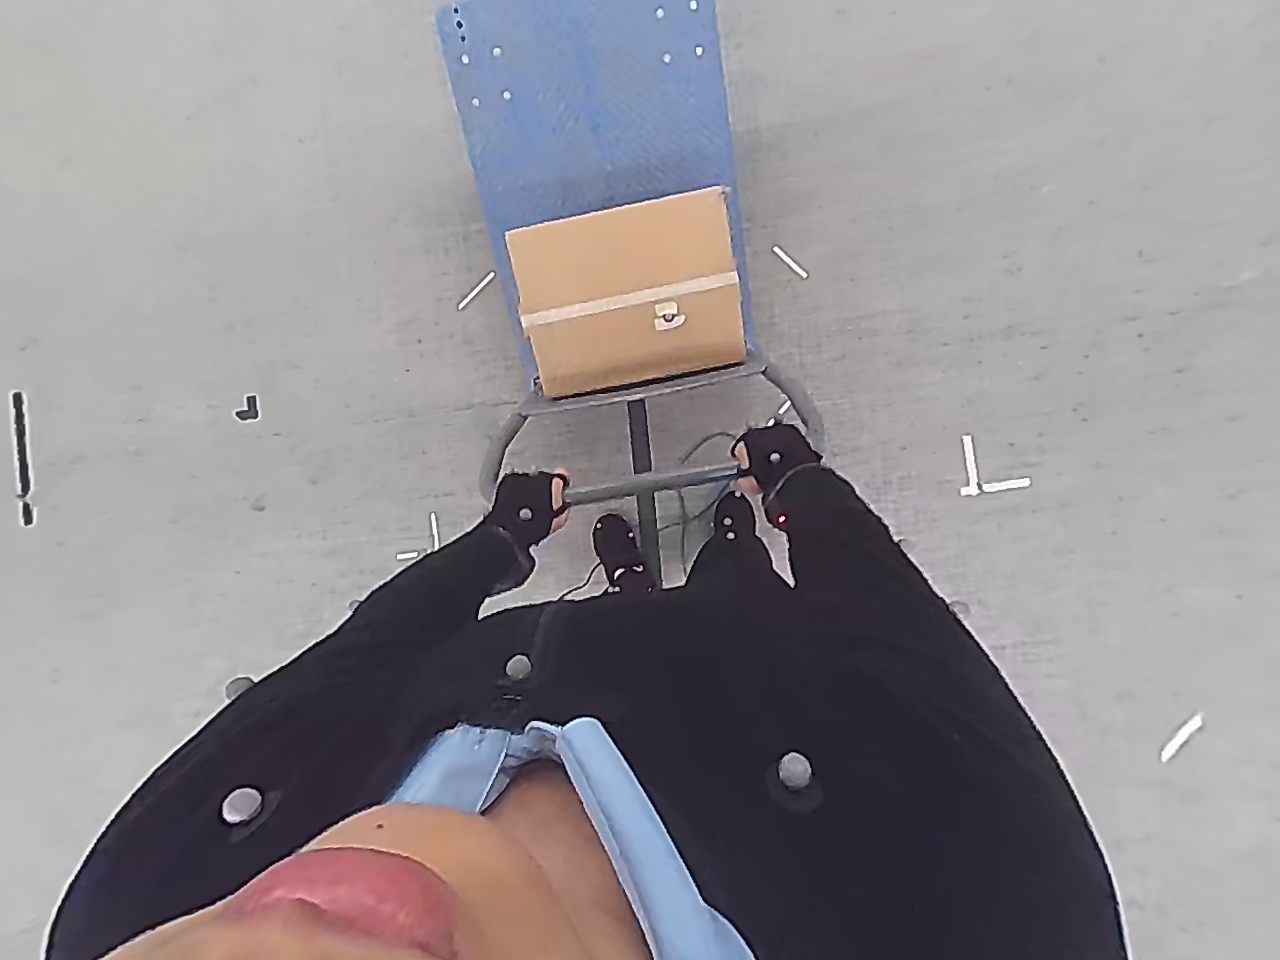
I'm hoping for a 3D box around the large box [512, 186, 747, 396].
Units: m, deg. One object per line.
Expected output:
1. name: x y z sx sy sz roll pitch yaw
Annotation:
1. large box: -0.016 -0.393 1.170 0.408 0.320 0.320 -11 108 3
